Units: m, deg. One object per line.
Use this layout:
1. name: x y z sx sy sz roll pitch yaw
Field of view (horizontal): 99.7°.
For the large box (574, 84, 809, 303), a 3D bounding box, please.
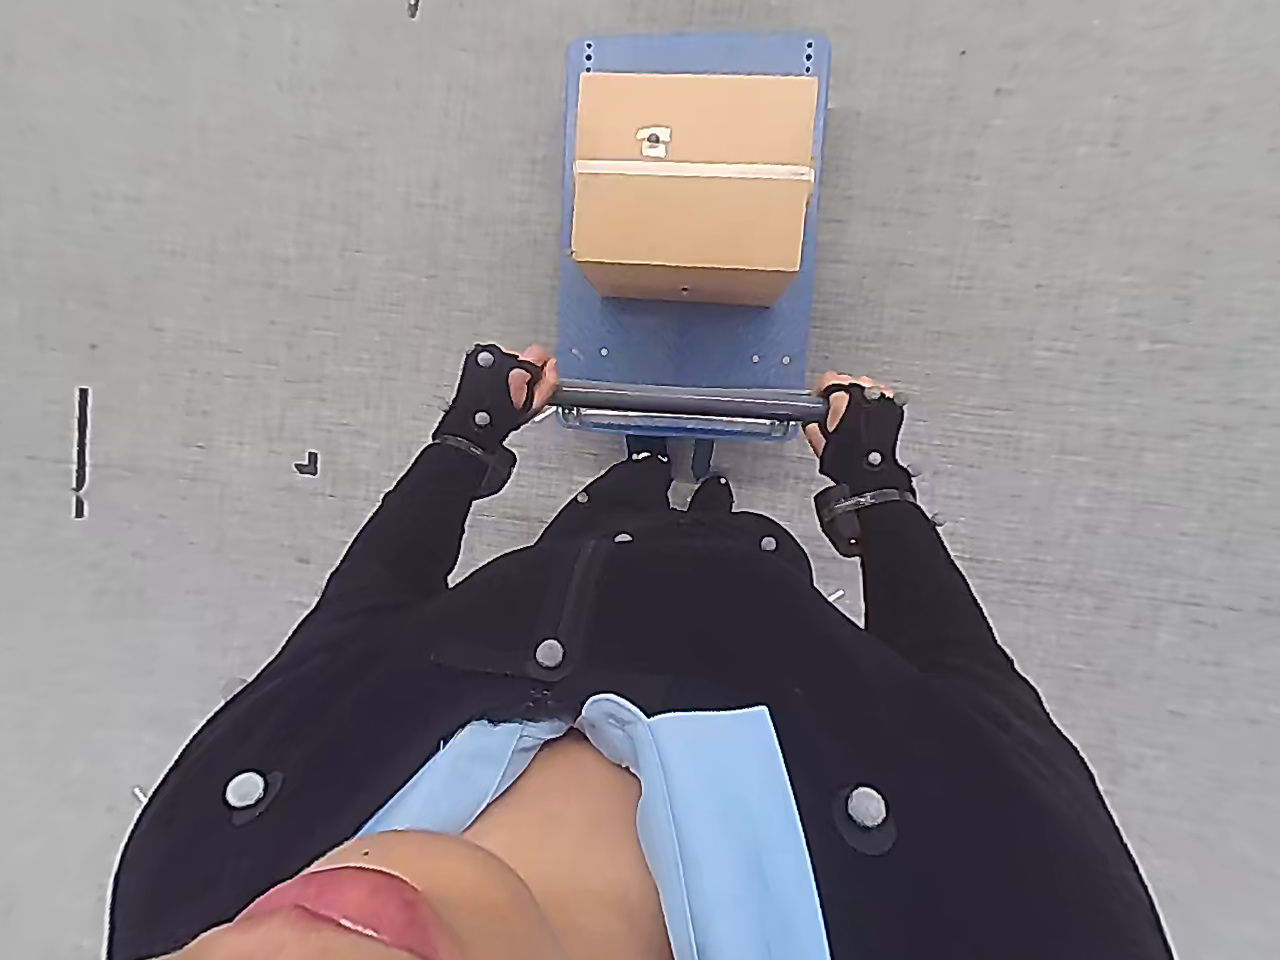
1. large box: 0.101 -0.552 1.101 0.408 0.320 0.320 5 96 6
